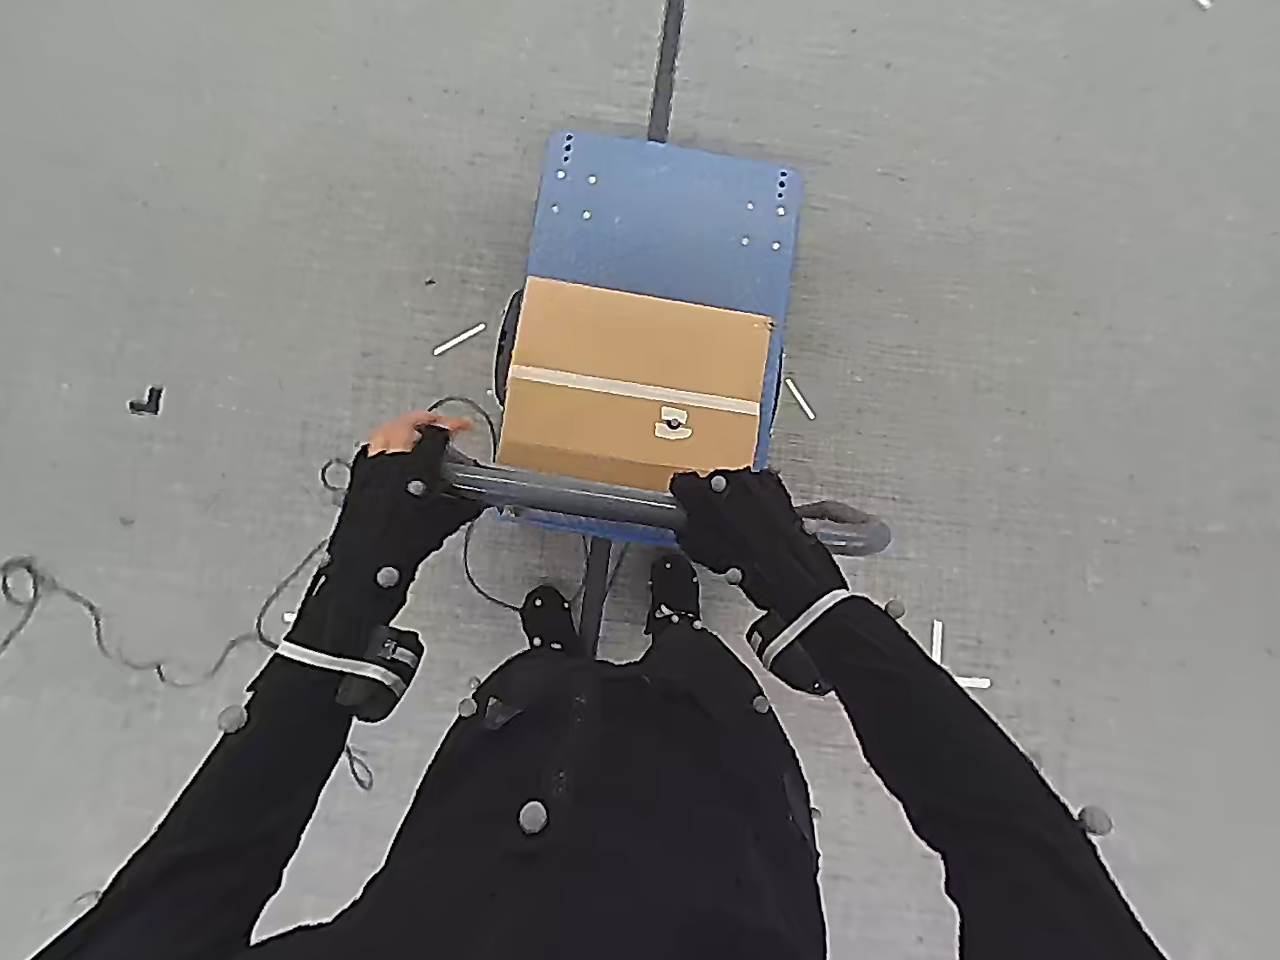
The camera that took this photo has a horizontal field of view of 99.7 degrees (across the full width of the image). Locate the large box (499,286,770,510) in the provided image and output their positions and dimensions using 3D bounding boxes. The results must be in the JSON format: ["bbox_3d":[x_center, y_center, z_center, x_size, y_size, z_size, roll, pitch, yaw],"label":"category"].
[{"bbox_3d":[-0.015,-0.124,1.008,0.408,0.320,0.320,9,87,-3],"label":"large box"}]
